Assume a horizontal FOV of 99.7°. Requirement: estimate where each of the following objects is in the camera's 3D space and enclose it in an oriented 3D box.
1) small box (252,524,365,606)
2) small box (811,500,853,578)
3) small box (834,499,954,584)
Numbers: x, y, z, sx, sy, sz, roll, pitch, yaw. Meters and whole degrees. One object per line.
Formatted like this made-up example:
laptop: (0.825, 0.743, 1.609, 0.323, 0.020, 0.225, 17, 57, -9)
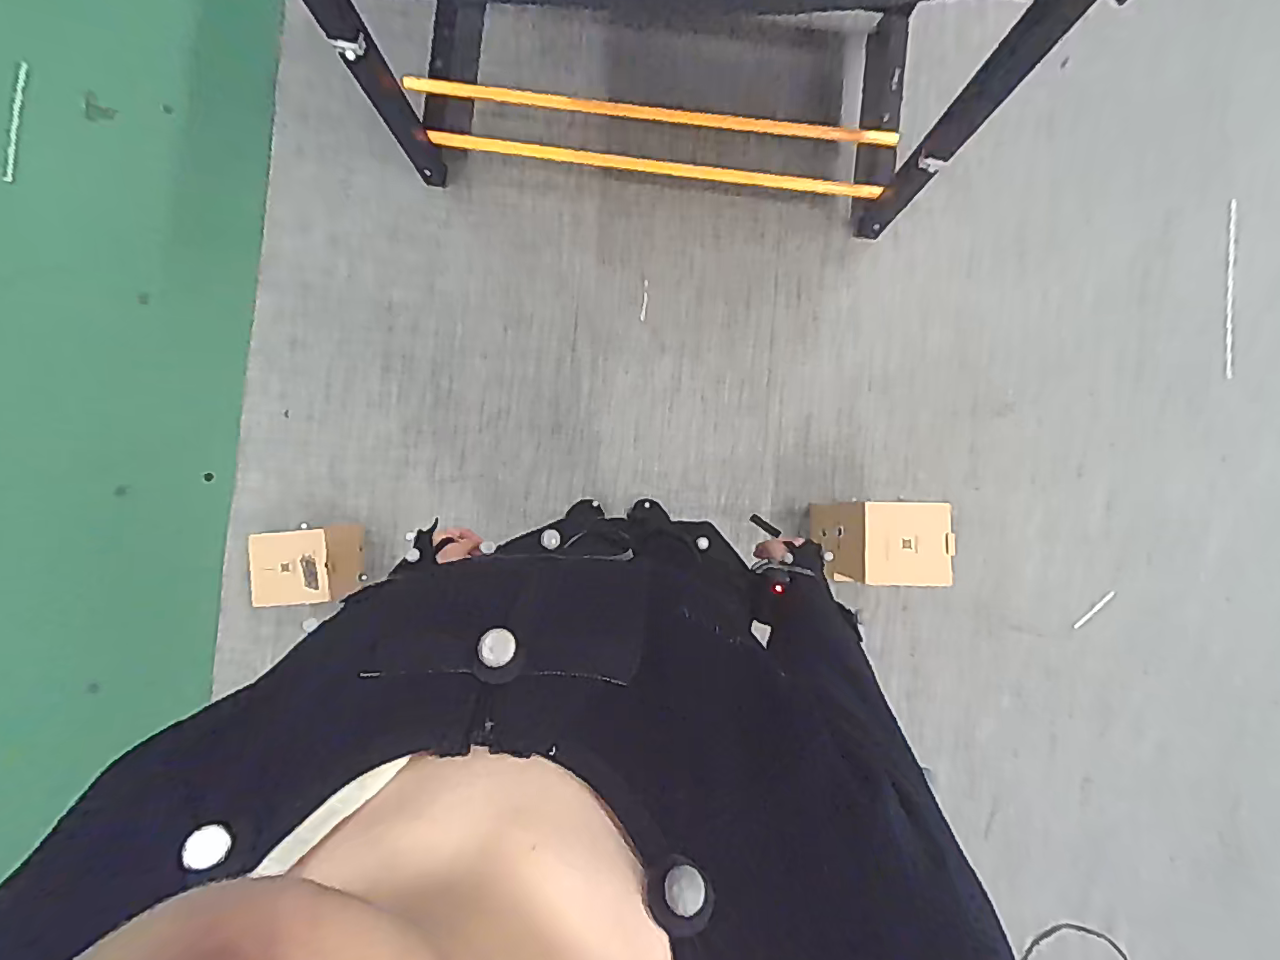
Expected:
small box: (-0.774, 0.196, 1.284, 0.179, 0.176, 0.168, -4, 88, 0)
small box: (0.518, 0.139, 1.299, 0.168, 0.176, 0.179, 0, 88, -1)
small box: (0.526, 0.123, 1.136, 0.179, 0.176, 0.168, 0, 87, 0)
